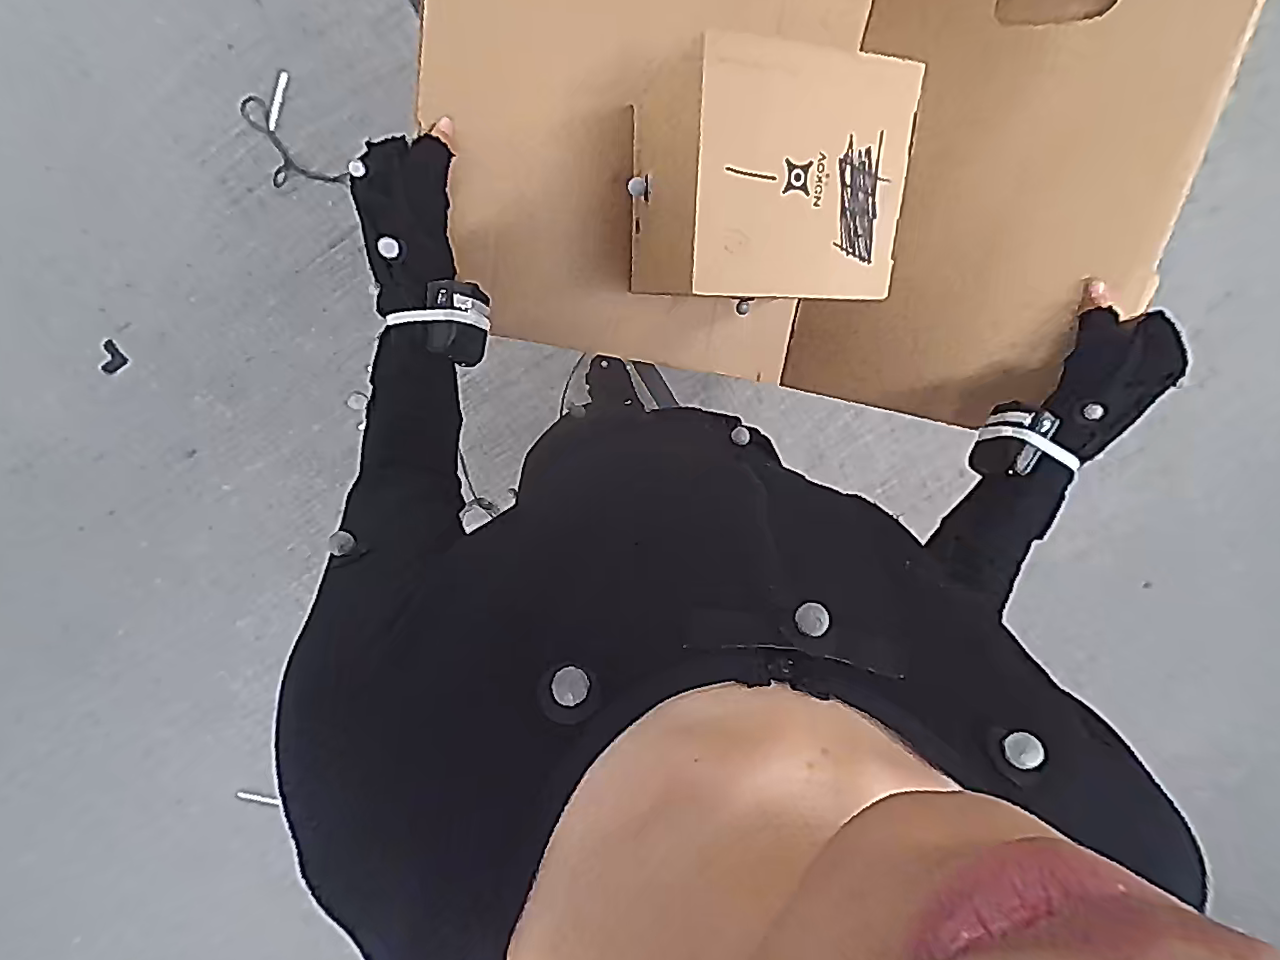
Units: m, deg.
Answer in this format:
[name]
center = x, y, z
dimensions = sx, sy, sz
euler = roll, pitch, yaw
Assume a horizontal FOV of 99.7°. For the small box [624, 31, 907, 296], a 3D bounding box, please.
[small box]
center = 0.093, -0.252, 0.478
dimensions = 0.179, 0.176, 0.168
euler = -5, 109, -15
